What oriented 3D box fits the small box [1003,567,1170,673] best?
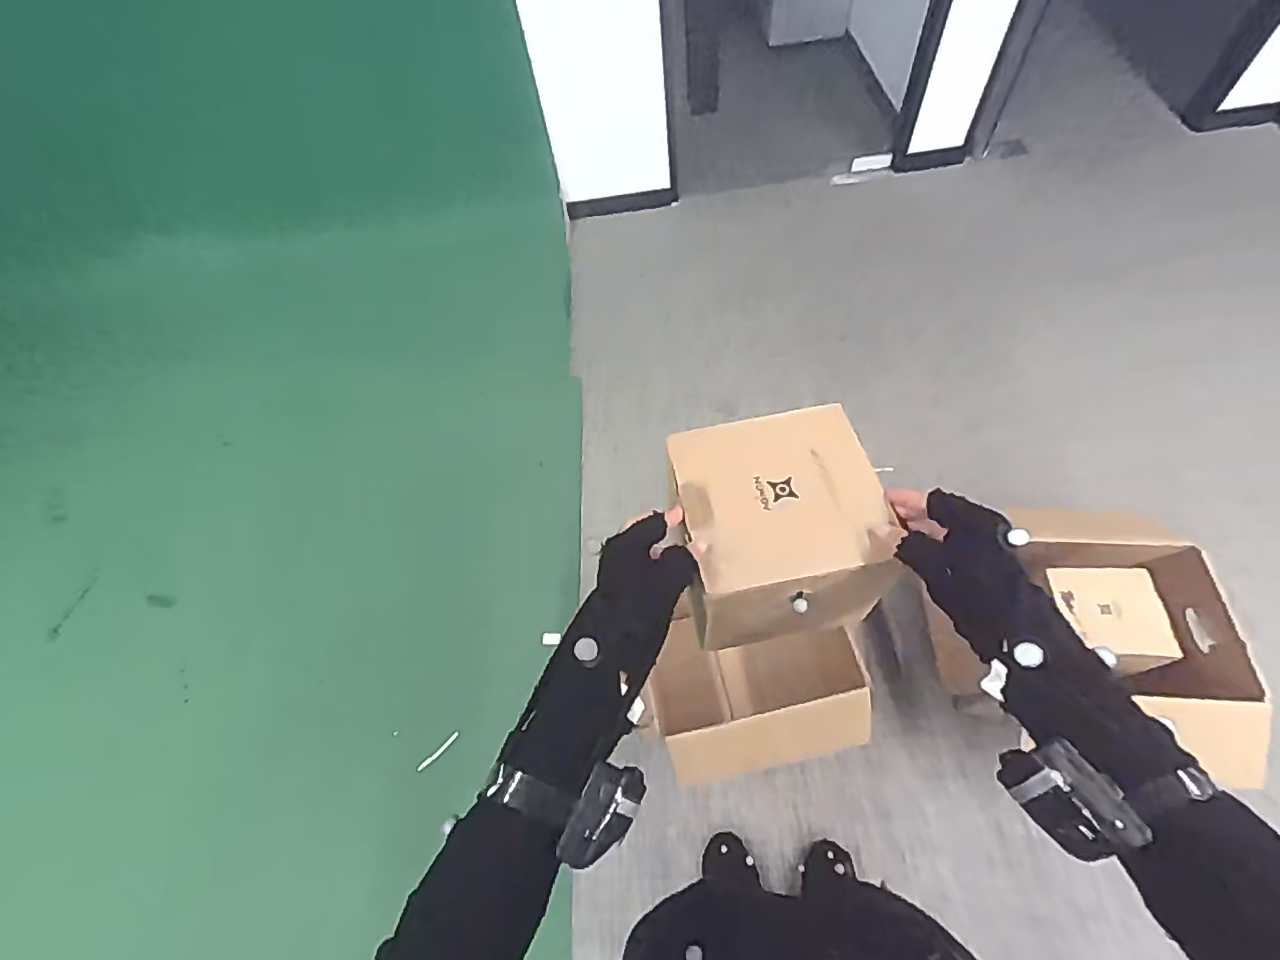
[{"bbox_3d":[0.874,0.283,1.081,0.179,0.176,0.168,-1,58,8],"label":"small box"}]
